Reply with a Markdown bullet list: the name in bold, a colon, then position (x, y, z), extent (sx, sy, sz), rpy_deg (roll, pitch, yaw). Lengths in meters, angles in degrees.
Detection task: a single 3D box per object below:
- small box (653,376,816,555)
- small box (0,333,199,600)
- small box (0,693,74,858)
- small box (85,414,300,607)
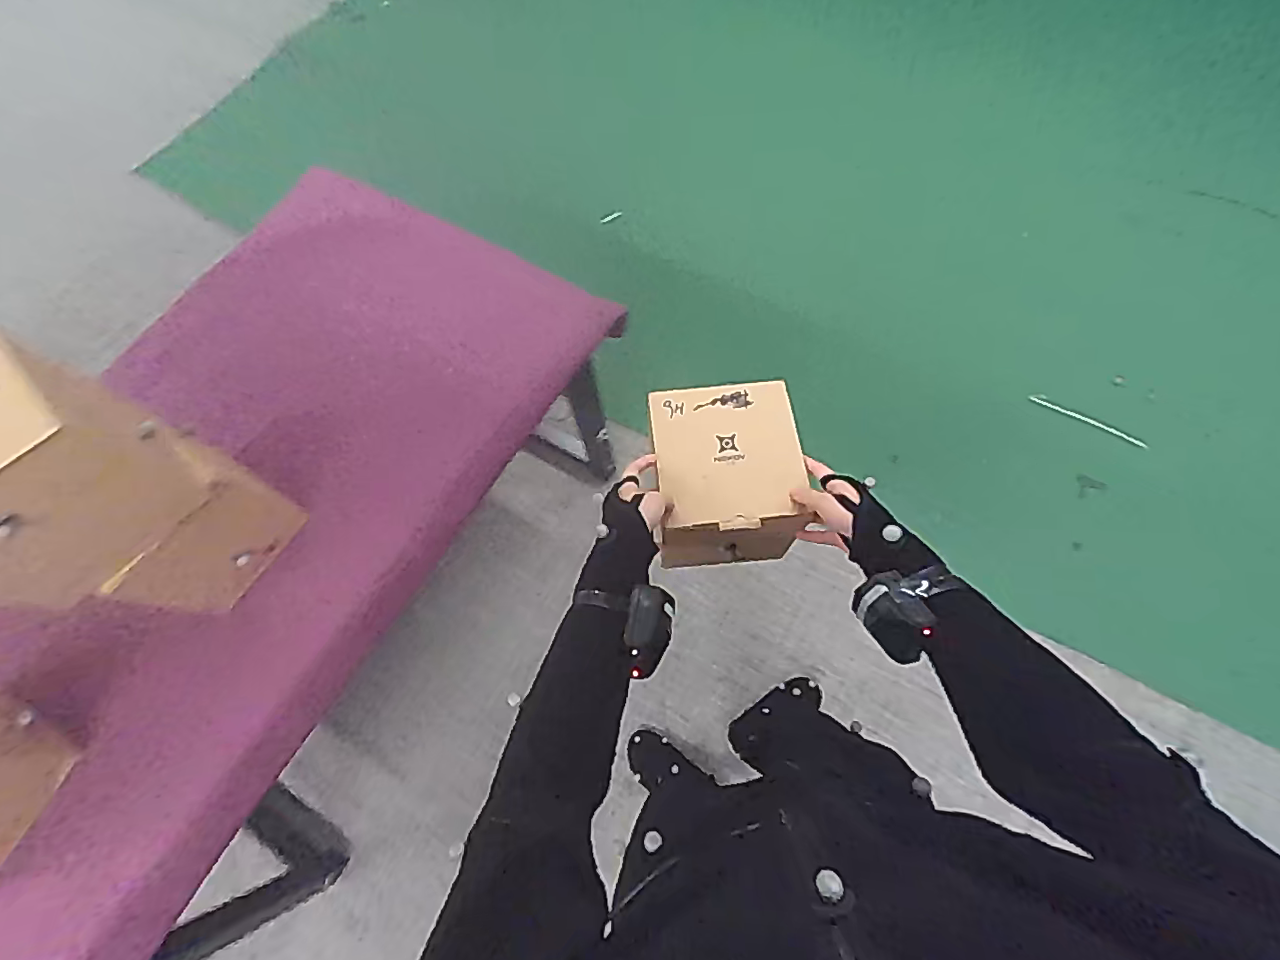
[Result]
- **small box**: position (0.105, -0.008, 0.678), extent (0.168, 0.176, 0.179), rpy_deg (-4, 67, 0)
- **small box**: position (-0.599, -0.006, 0.524), extent (0.168, 0.176, 0.179), rpy_deg (41, 75, 16)
- **small box**: position (-0.793, 0.343, 0.575), extent (0.168, 0.176, 0.179), rpy_deg (24, 71, 10)
- **small box**: position (-0.589, 0.043, 0.681), extent (0.179, 0.176, 0.168), rpy_deg (30, 74, 13)
